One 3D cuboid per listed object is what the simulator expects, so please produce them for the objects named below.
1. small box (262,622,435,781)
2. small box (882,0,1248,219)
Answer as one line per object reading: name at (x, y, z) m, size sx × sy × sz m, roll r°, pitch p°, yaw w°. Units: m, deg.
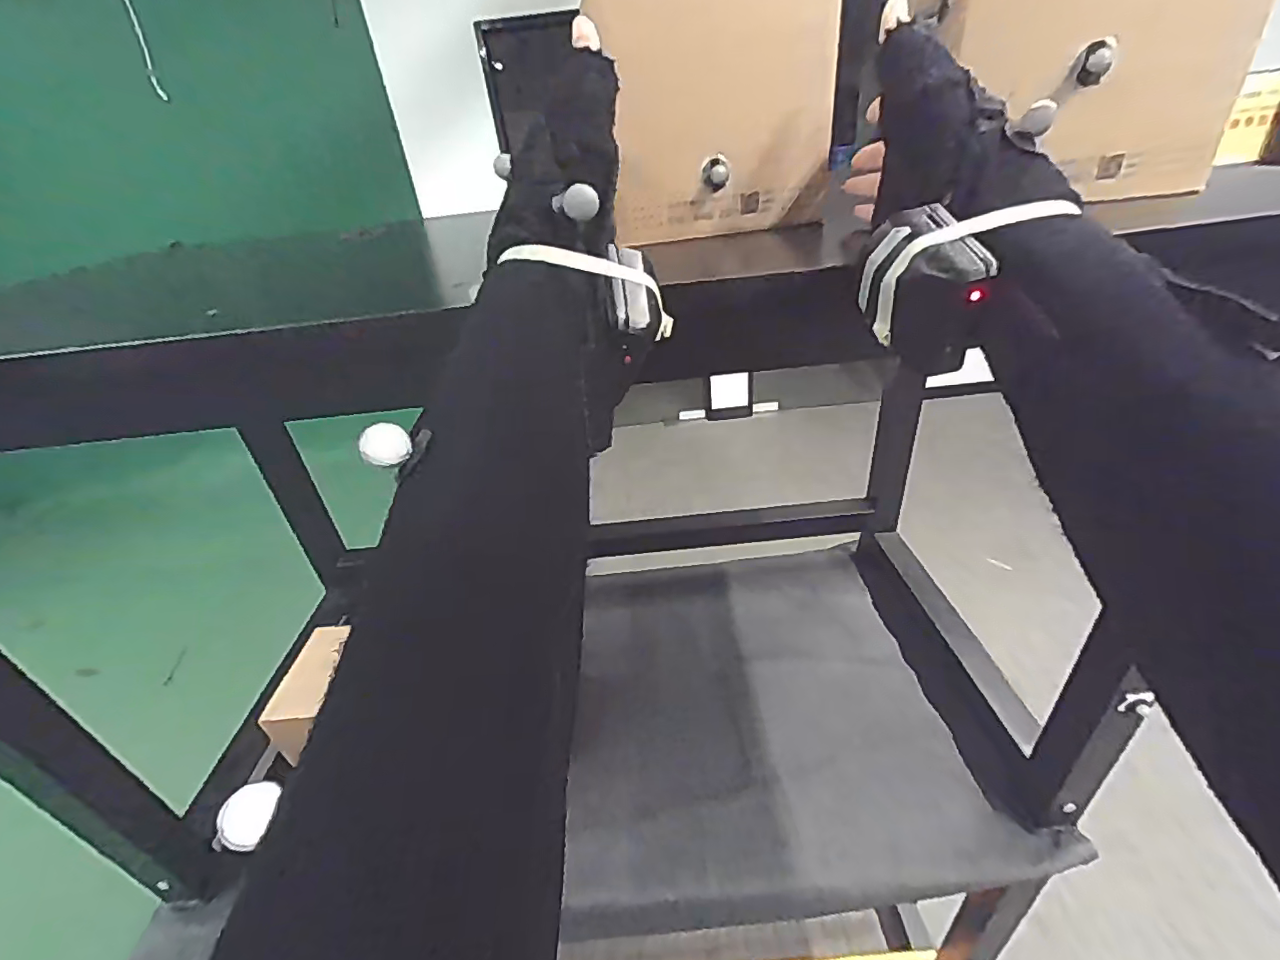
small box at (-0.453, 0.356, 0.878) m, size 0.168 × 0.176 × 0.179 m, roll -5°, pitch 32°, yaw 3°
small box at (0.292, -0.298, 0.403) m, size 0.168 × 0.176 × 0.179 m, roll 0°, pitch 32°, yaw 11°
